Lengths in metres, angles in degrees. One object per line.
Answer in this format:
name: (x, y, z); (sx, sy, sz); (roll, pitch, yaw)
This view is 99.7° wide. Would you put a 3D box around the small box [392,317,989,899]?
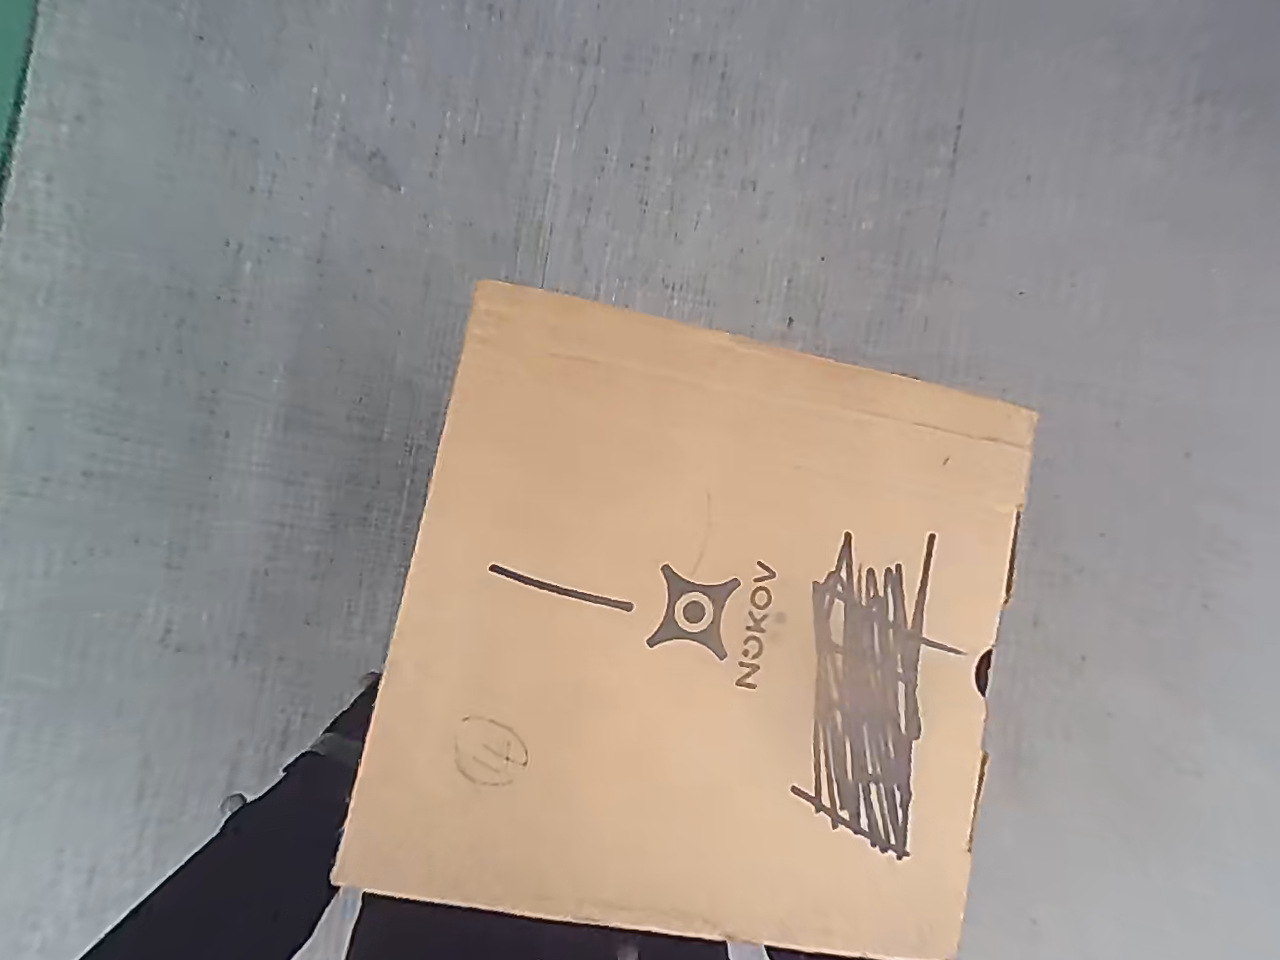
small box: (0.014, 0.047, 0.250); (0.179, 0.176, 0.168); (9, 85, -7)
